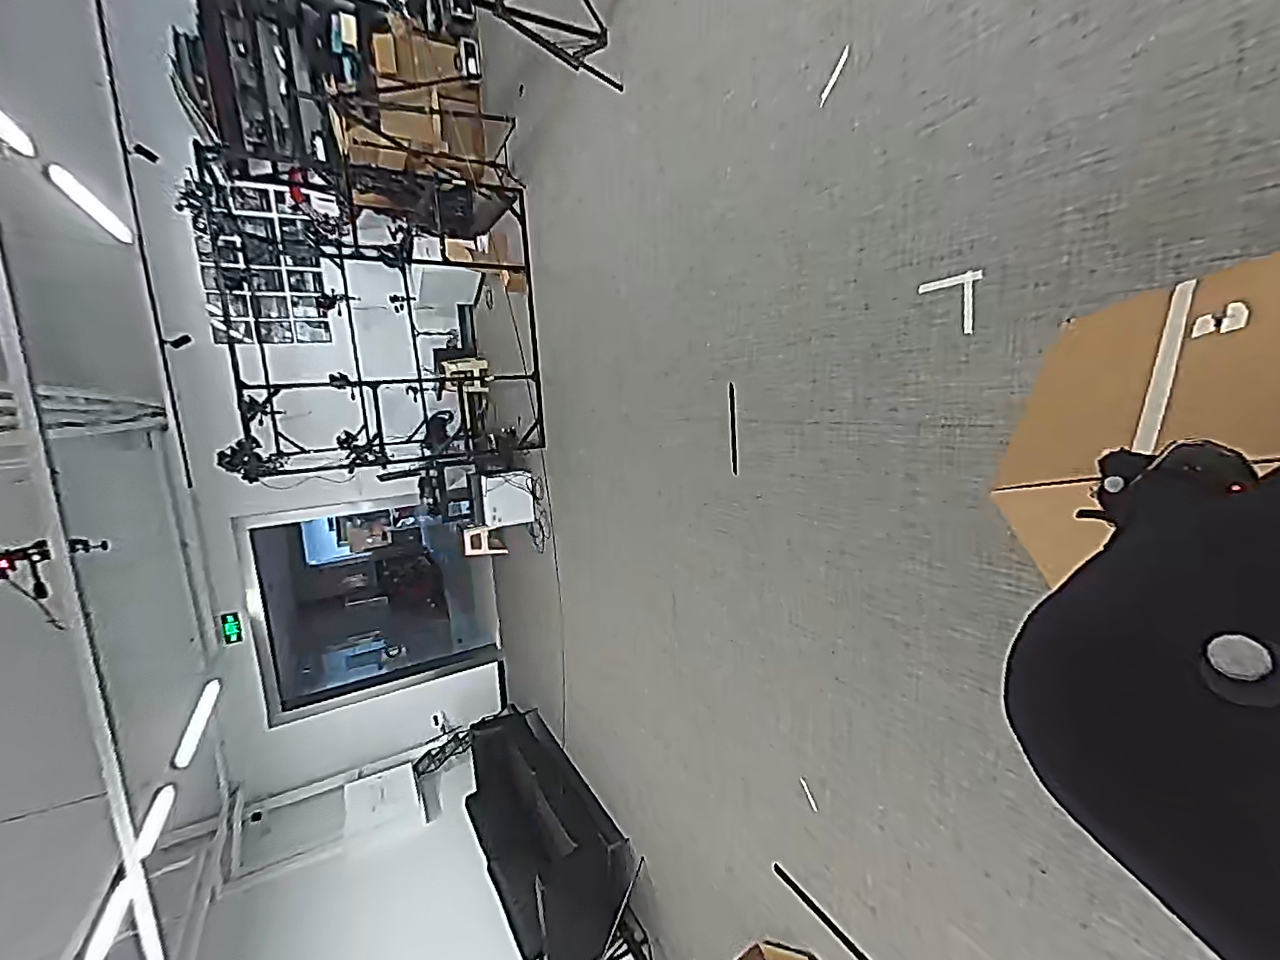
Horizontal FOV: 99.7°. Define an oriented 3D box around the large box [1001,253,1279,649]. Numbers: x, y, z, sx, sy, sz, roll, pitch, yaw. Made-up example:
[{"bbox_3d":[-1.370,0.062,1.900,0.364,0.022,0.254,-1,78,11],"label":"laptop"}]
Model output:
[{"bbox_3d":[0.761,-0.034,0.712,0.320,0.408,0.320,49,153,-15],"label":"large box"}]
